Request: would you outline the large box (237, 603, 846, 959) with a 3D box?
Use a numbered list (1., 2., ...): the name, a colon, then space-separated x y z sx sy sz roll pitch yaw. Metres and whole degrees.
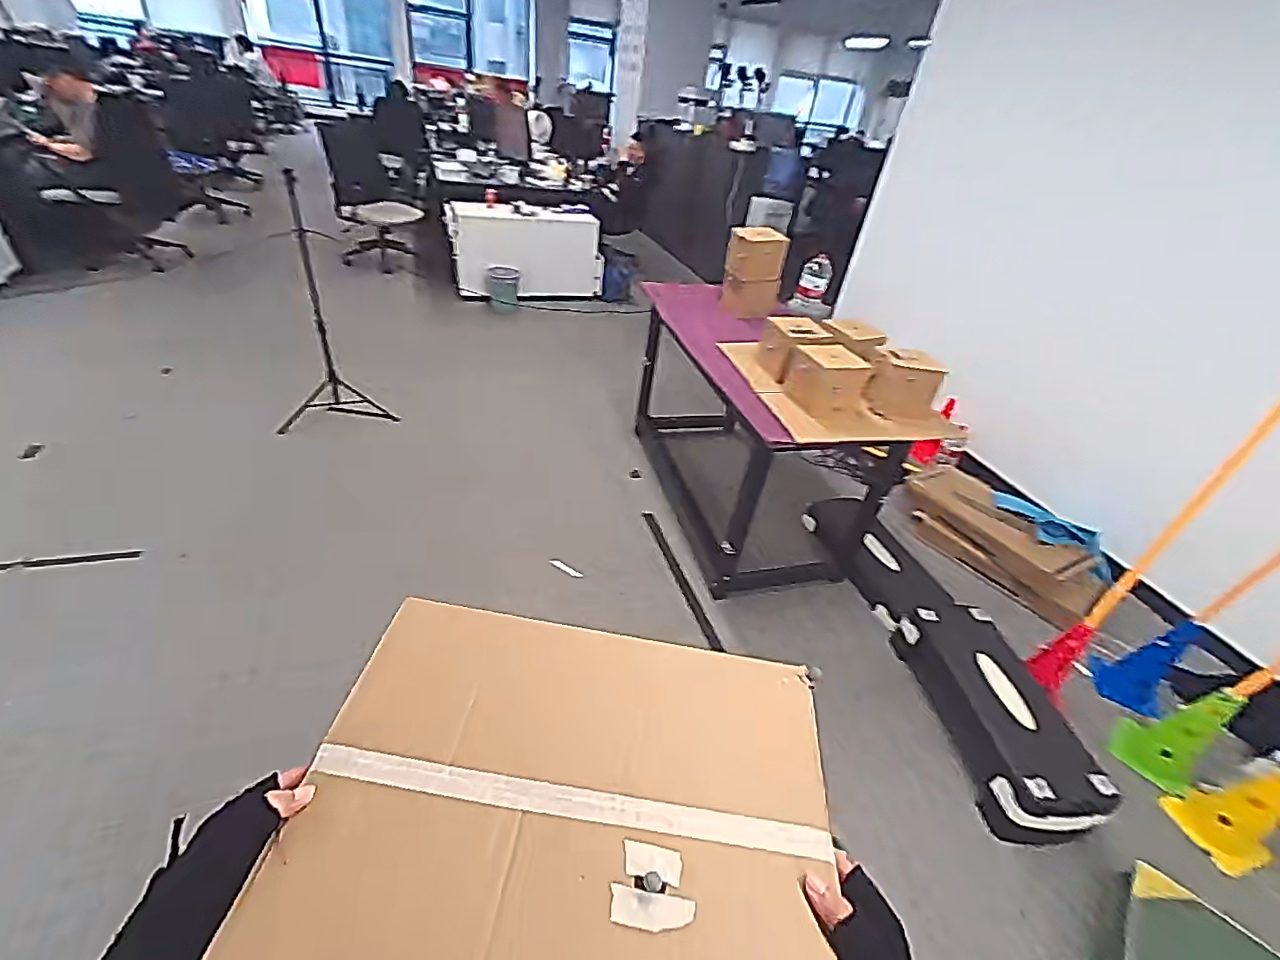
1. large box: -0.063 0.366 0.528 0.408 0.320 0.320 11 41 1
